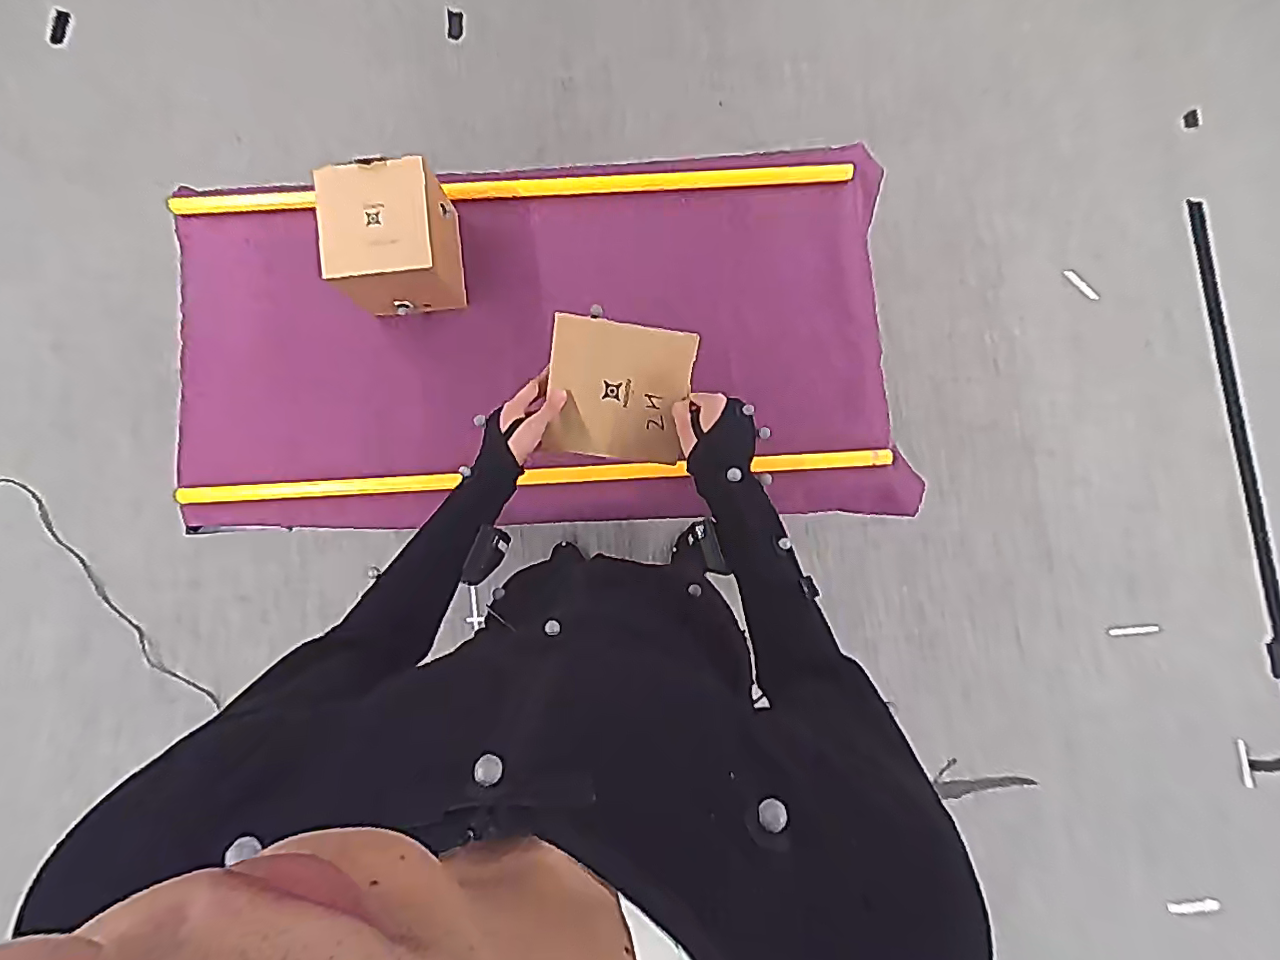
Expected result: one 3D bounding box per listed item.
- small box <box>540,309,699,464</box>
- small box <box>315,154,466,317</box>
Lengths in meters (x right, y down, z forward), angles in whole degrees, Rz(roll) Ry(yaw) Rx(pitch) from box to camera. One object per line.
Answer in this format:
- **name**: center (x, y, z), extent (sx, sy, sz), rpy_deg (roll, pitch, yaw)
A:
- **small box**: center (-0.029, -0.130, 0.735), extent (0.179, 0.176, 0.168), rpy_deg (8, 105, -5)
- **small box**: center (-0.394, -0.386, 0.876), extent (0.168, 0.176, 0.179), rpy_deg (-7, 87, -1)
